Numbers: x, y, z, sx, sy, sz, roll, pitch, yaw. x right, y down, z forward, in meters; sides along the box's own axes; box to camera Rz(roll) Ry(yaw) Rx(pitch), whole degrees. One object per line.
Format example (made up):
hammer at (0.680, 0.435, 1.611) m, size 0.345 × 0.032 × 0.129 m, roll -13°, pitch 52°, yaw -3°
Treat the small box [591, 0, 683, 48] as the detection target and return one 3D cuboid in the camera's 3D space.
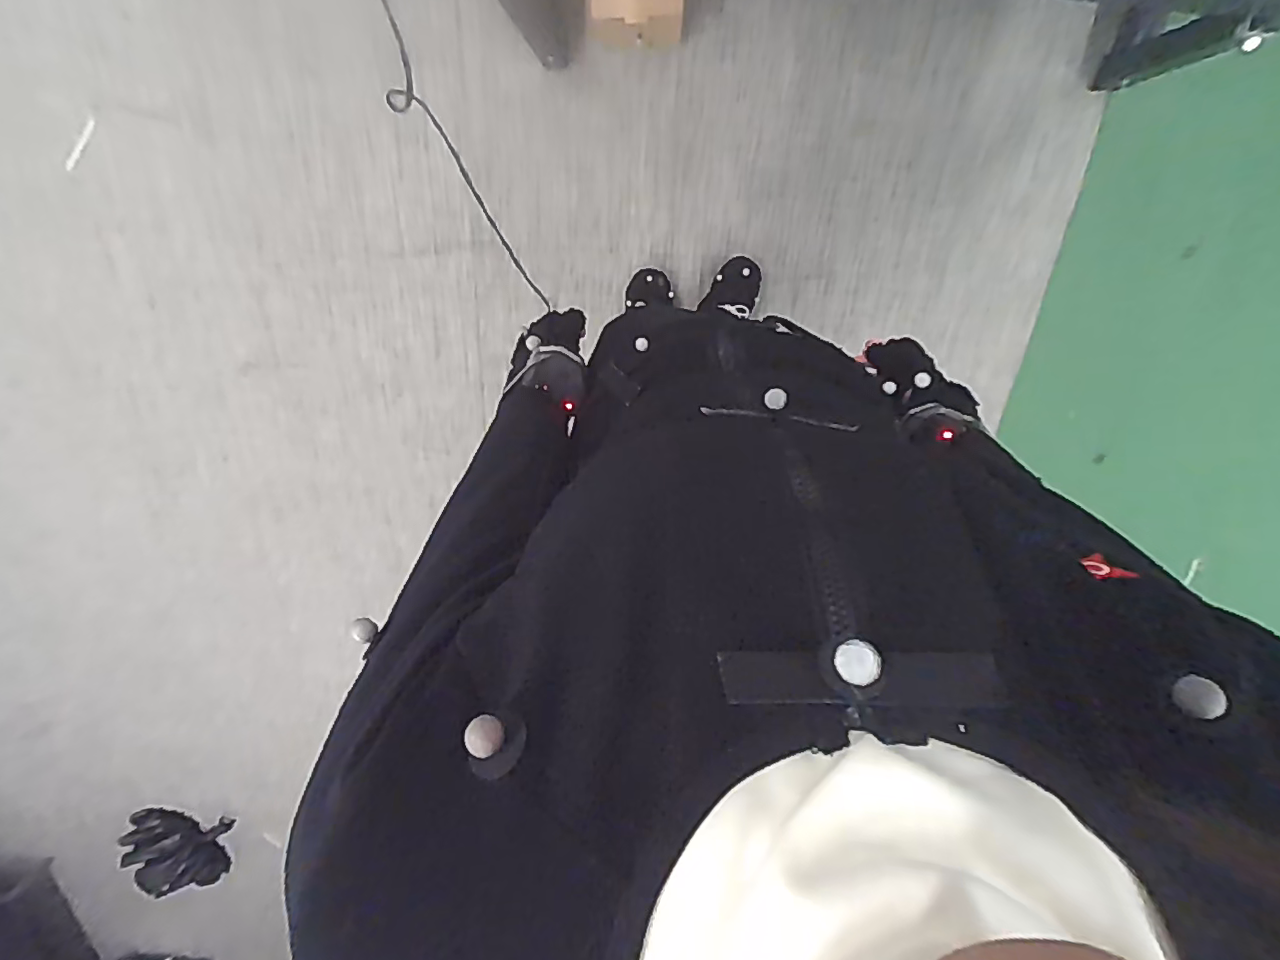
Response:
small box at (-0.002, -0.933, 1.006) m, size 0.168 × 0.176 × 0.179 m, roll 1°, pitch 114°, yaw 2°
